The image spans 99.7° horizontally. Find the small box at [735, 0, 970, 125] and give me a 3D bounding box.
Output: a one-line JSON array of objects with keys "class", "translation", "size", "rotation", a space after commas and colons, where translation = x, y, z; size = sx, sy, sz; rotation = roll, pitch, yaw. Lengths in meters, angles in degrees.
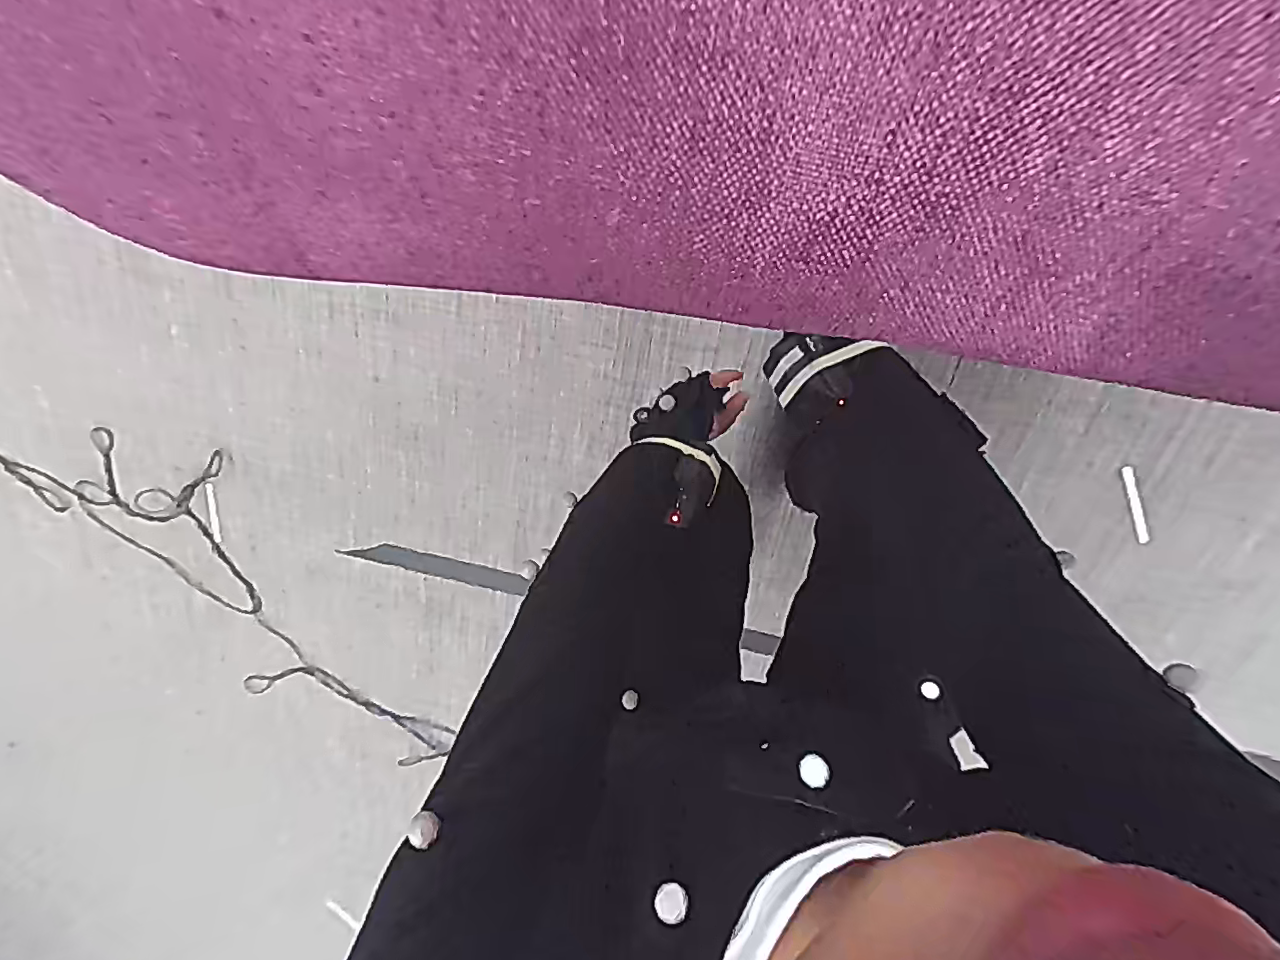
[{"class": "small box", "translation": [0.192, -0.445, 0.501], "size": [0.179, 0.176, 0.168], "rotation": [11, 115, 4]}]
